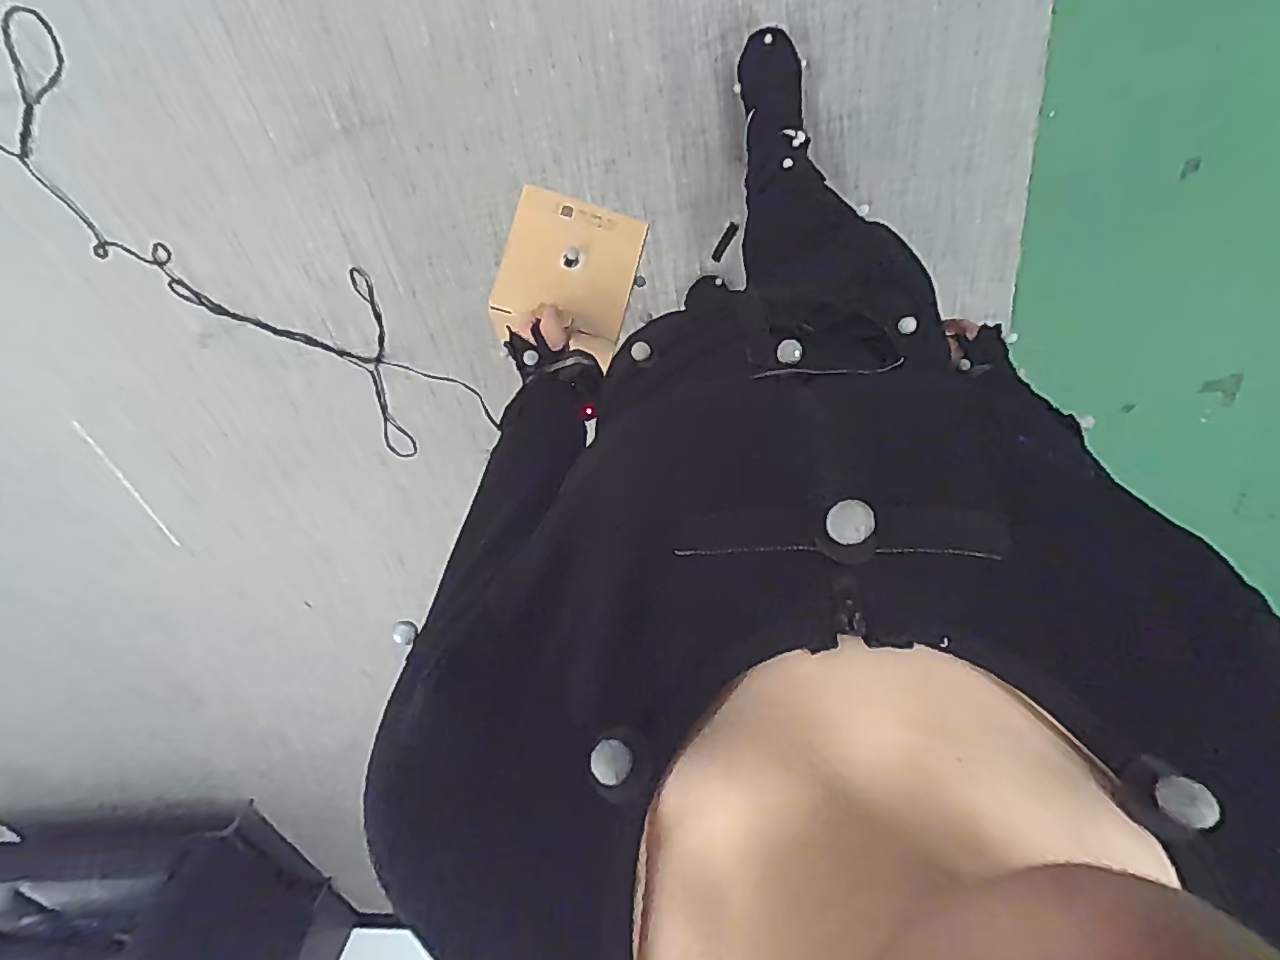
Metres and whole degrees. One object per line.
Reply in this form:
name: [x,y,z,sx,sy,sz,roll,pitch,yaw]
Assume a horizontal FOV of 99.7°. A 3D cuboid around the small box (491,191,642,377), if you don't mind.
small box: [-0.100,-0.266,0.759,0.168,0.179,0.176,14,83,-6]
